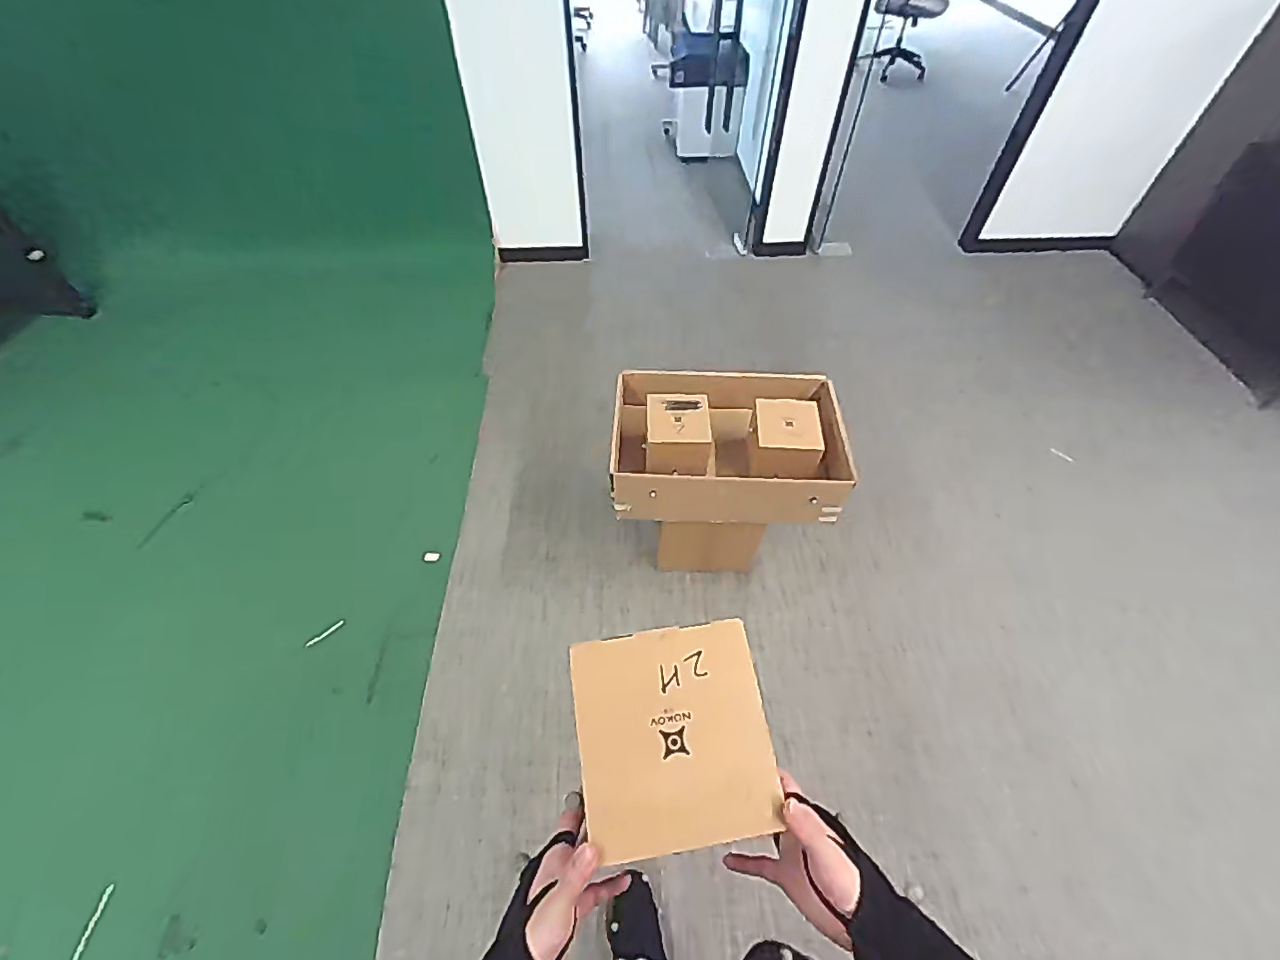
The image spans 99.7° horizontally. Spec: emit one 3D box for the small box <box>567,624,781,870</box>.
[{"bbox_3d":[0.021,0.255,0.537,0.168,0.176,0.179,-6,64,-6],"label":"small box"}]
